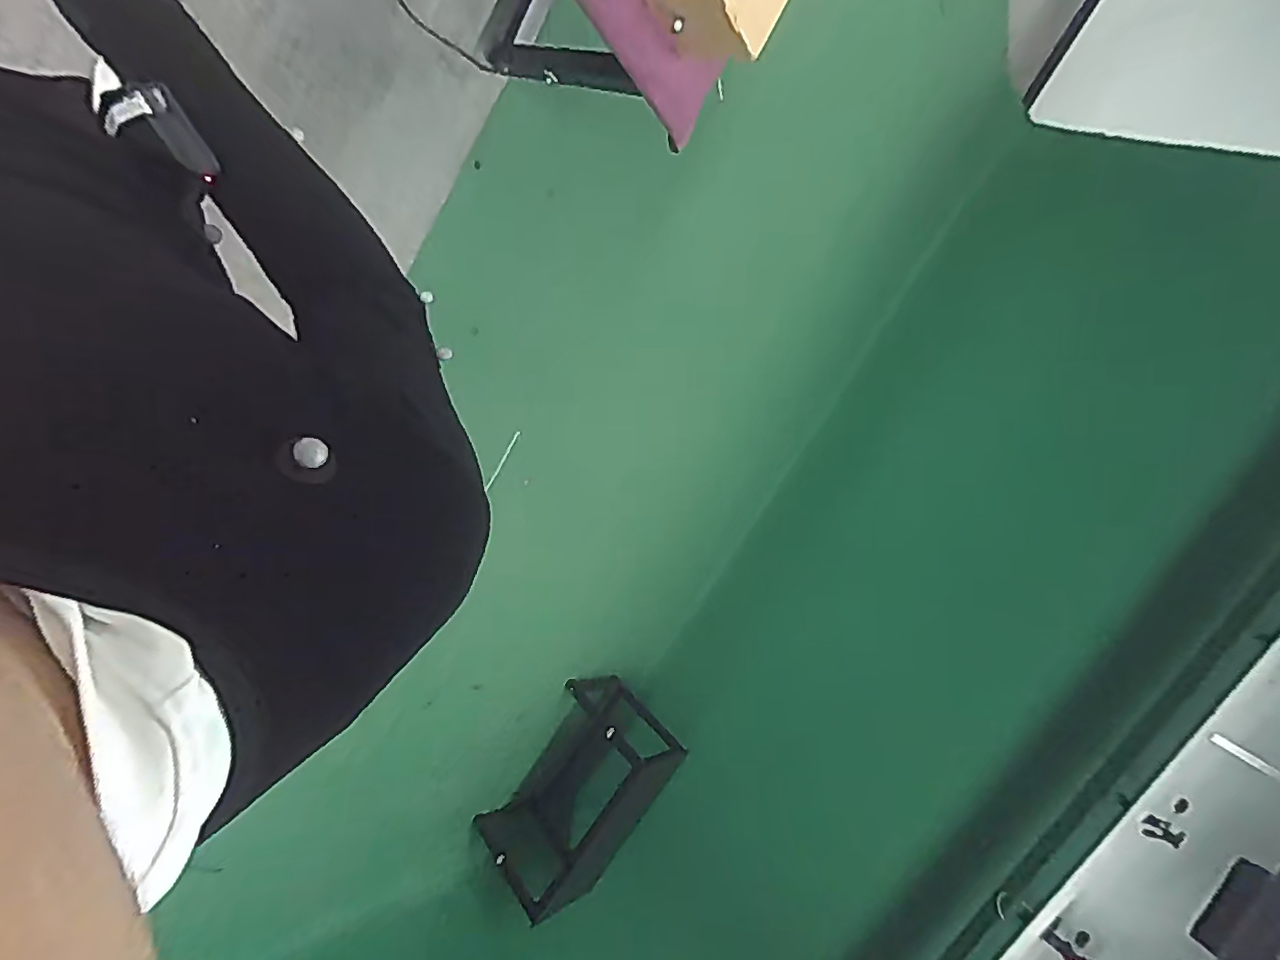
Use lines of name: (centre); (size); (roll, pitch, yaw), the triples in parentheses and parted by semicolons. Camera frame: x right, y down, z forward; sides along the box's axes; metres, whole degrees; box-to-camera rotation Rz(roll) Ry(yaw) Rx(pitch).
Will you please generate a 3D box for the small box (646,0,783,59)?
small box: (0.123, -0.811, 0.847); (0.168, 0.176, 0.179); (19, 105, -53)
